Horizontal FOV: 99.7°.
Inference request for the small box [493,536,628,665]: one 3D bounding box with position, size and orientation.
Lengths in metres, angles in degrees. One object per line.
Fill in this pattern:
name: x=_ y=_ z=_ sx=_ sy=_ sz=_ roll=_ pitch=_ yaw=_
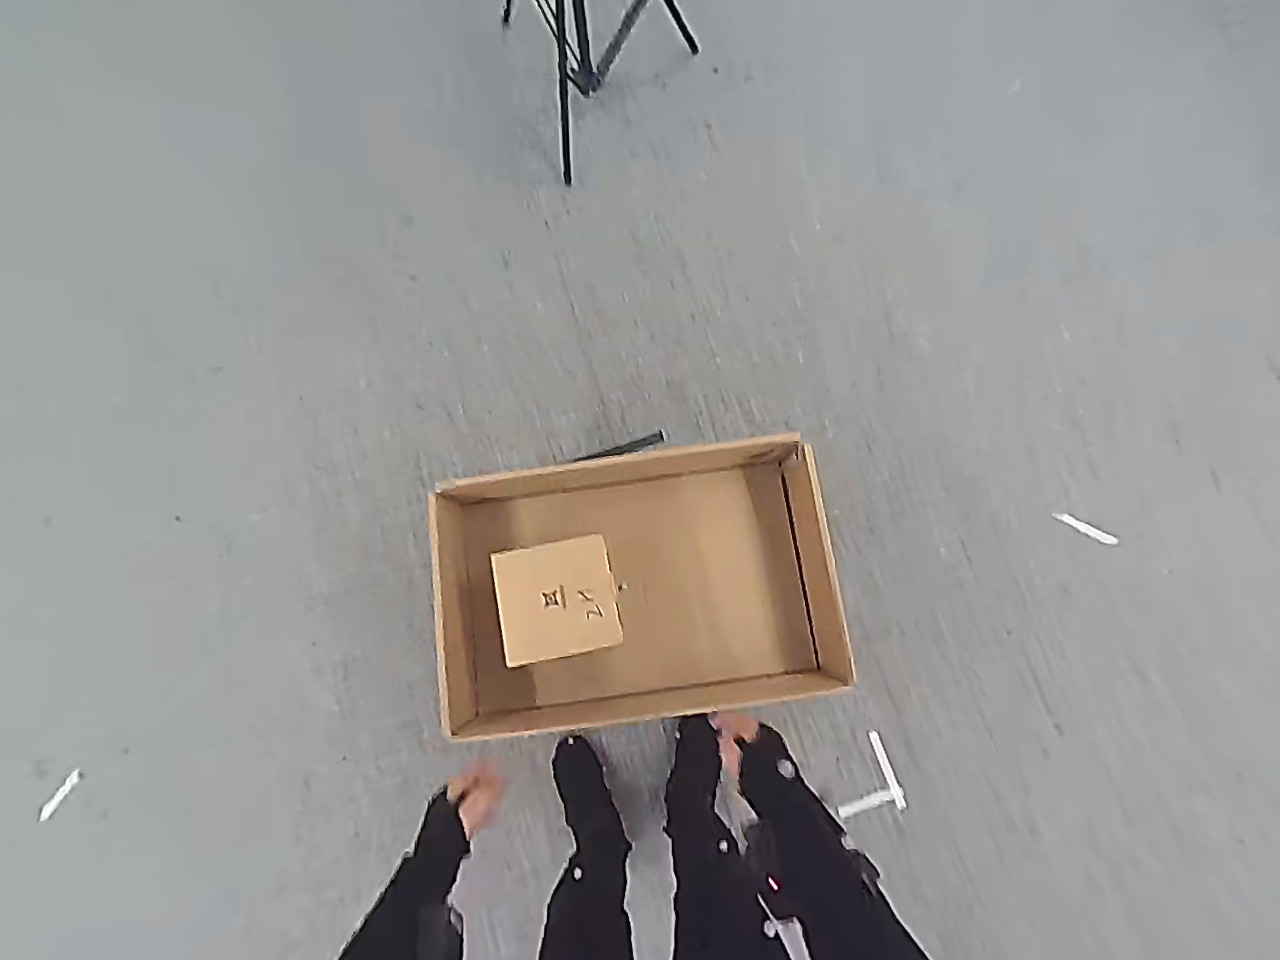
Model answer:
small box: x=-0.120 y=0.193 z=0.875 sx=0.179 sy=0.176 sz=0.168 roll=-11 pitch=79 yaw=-2
